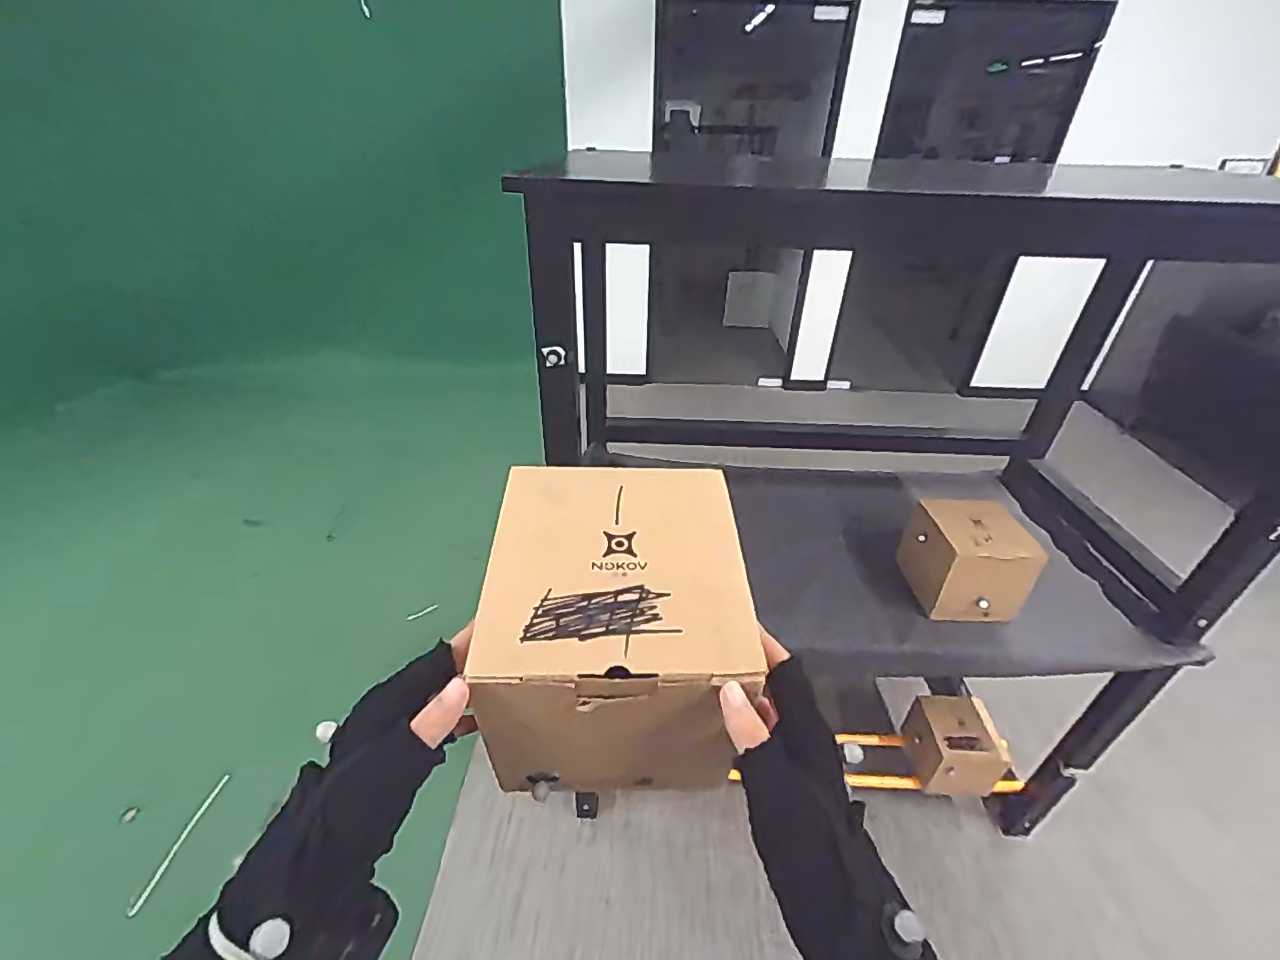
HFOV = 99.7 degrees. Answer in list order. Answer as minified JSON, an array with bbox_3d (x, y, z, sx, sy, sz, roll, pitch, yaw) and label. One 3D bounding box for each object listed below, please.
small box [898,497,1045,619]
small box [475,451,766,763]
[{"bbox_3d":[0.640,0.152,1.074,0.168,0.176,0.179,1,32,0],"label":"small box"},{"bbox_3d":[-0.014,0.097,0.411,0.168,0.176,0.179,1,41,-3],"label":"small box"}]
